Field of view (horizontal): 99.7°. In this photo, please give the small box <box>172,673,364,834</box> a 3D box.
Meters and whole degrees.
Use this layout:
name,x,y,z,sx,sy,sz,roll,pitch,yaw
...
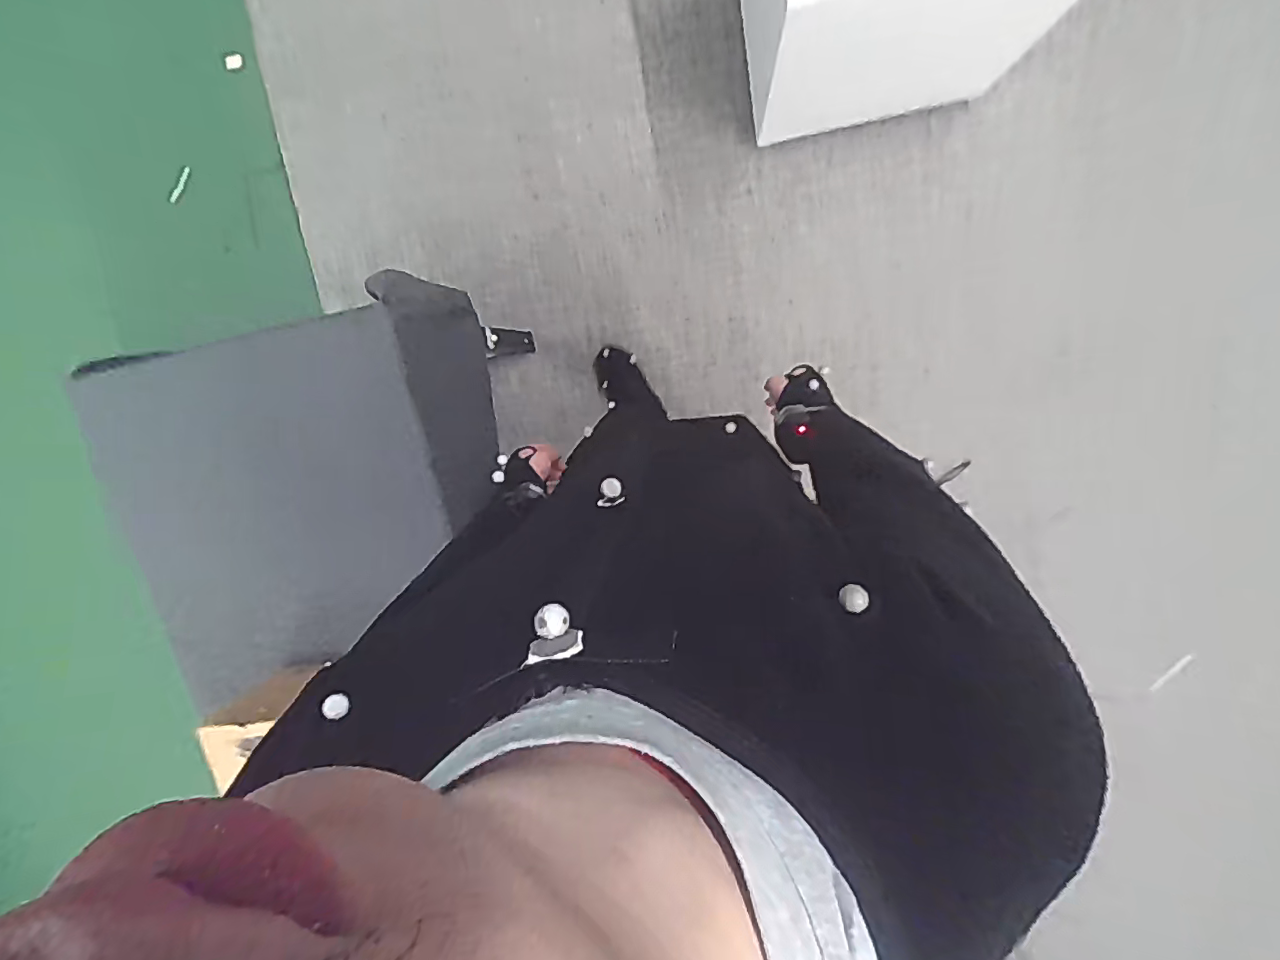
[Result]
name,x,y,z,sx,sy,sz,roll,pitch,yaw
small box,-0.589,0.432,0.881,0.168,0.176,0.179,-8,102,8
